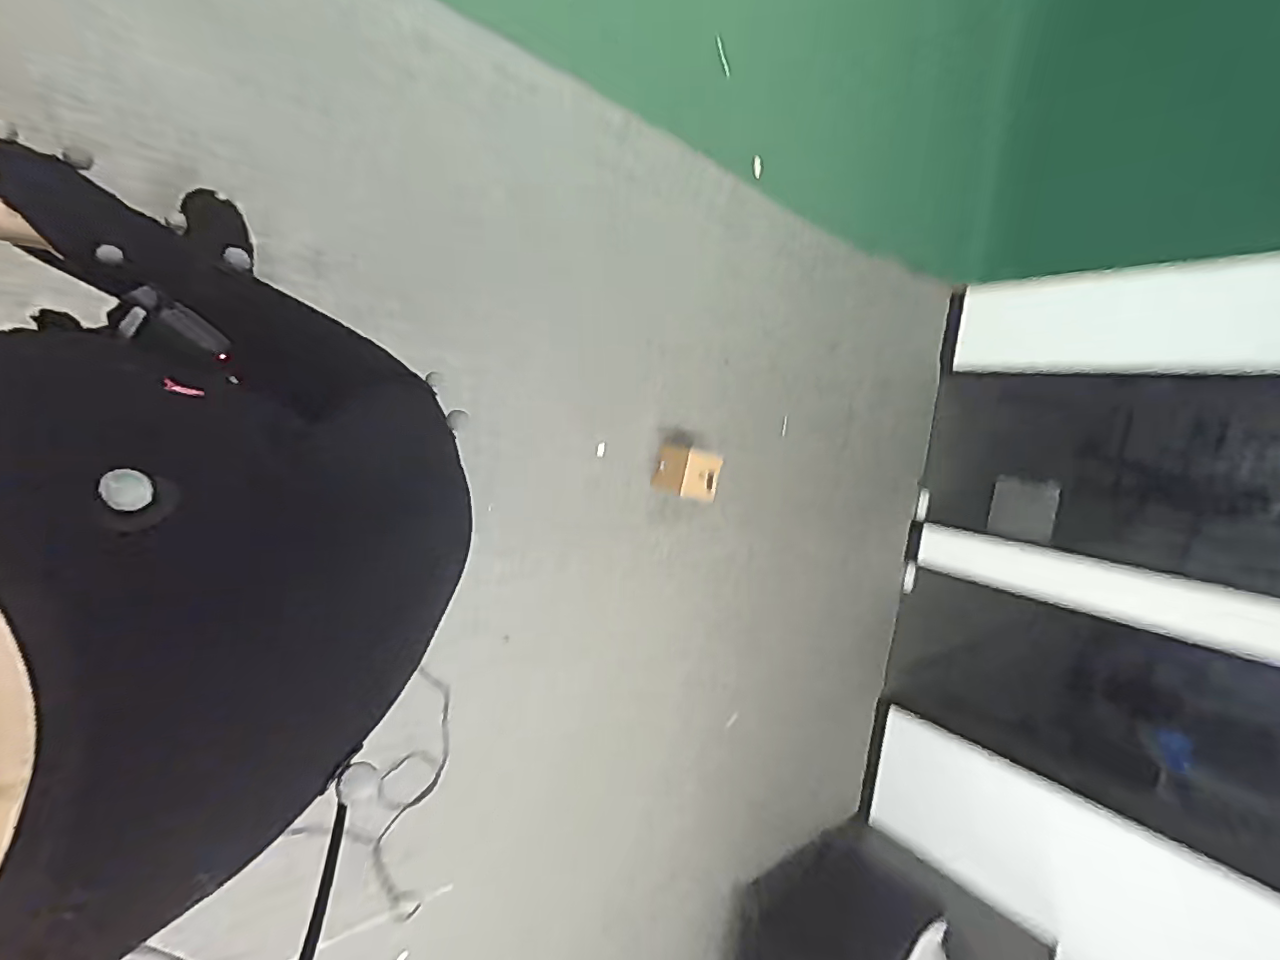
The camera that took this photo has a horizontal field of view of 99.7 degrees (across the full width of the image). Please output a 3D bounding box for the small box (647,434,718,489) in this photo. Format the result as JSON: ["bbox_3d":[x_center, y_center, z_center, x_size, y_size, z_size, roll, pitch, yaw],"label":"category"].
[{"bbox_3d":[0.155,-0.071,2.000,0.179,0.176,0.168,10,94,-40],"label":"small box"}]
